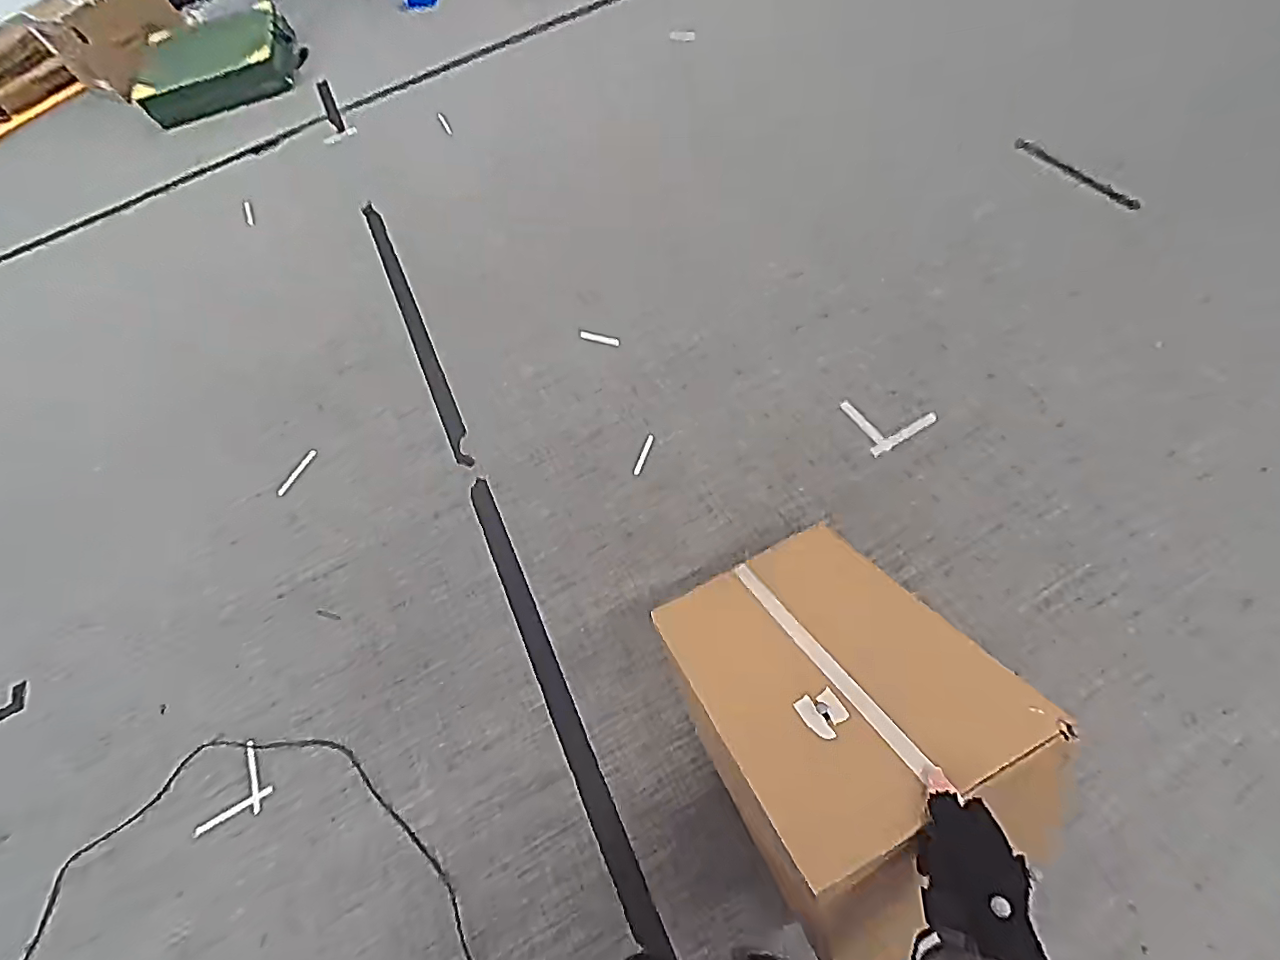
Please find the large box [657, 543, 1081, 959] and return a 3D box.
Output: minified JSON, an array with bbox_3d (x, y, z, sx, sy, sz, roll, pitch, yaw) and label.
[{"bbox_3d":[0.271,0.358,0.745,0.320,0.320,0.408,-26,30,-10],"label":"large box"}]
